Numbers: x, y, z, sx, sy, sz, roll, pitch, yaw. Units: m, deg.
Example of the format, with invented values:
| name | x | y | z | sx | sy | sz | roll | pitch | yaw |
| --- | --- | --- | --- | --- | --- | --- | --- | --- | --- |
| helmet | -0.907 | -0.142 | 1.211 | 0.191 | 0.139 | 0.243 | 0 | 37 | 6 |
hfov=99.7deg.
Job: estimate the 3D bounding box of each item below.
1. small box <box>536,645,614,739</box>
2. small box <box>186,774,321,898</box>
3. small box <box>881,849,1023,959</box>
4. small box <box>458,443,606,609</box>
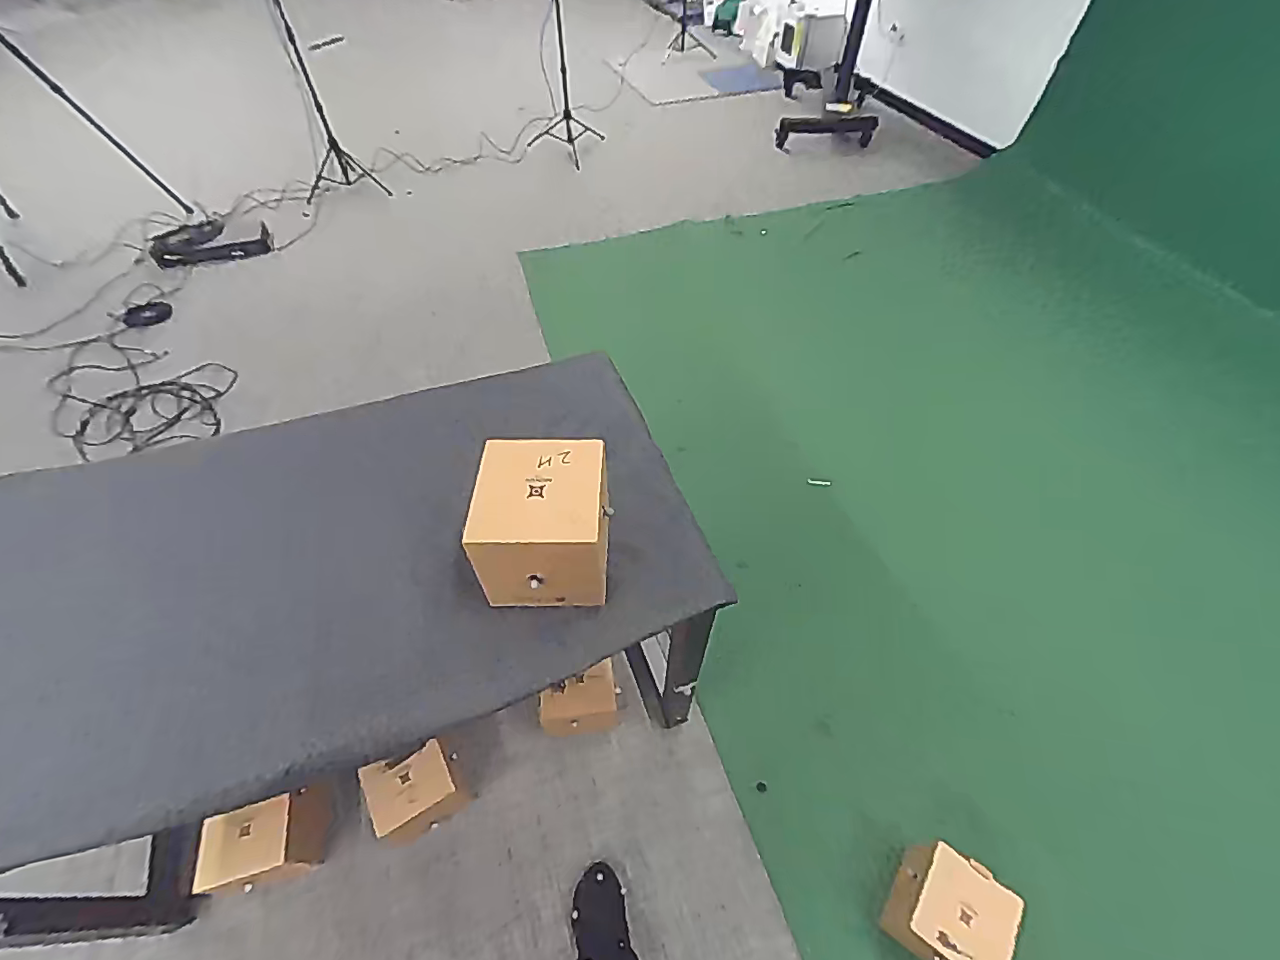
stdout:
| name | x | y | z | sx | sy | sz | roll | pitch | yaw |
| --- | --- | --- | --- | --- | --- | --- | --- | --- | --- |
| small box | -0.157 | 0.523 | 1.325 | 0.179 | 0.176 | 0.168 | -5 | 53 | -7 |
| small box | -0.800 | 0.751 | 1.143 | 0.168 | 0.176 | 0.179 | -13 | 53 | -10 |
| small box | 0.606 | 0.875 | 1.068 | 0.168 | 0.176 | 0.179 | 31 | 57 | 21 |
| small box | -0.135 | 0.068 | 0.753 | 0.168 | 0.176 | 0.179 | 1 | 50 | 0 |
